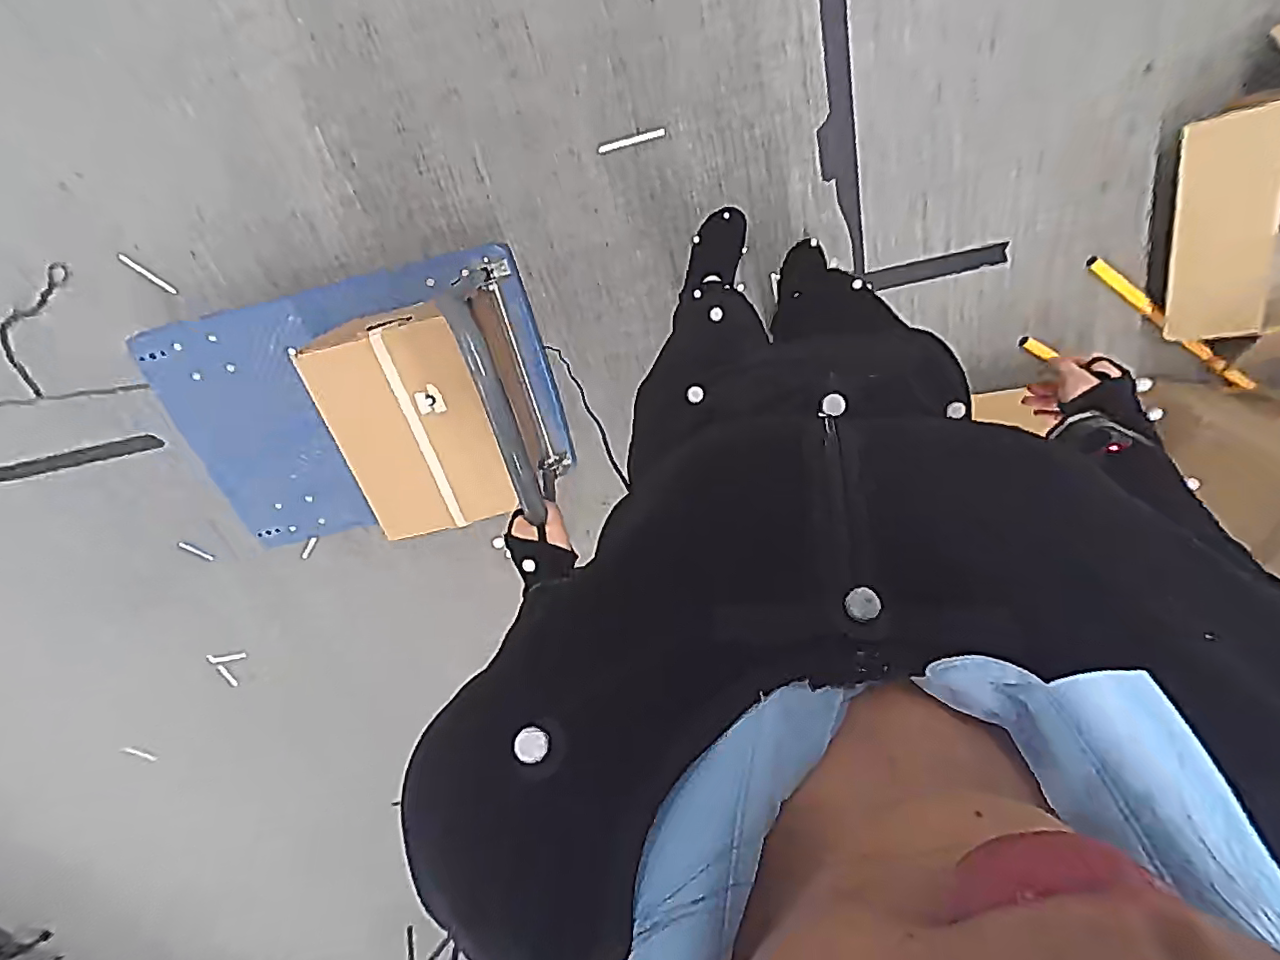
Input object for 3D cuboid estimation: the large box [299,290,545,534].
[{"bbox_3d":[-0.422,-0.157,1.171,0.320,0.320,0.408,-15,117,0],"label":"large box"}]
